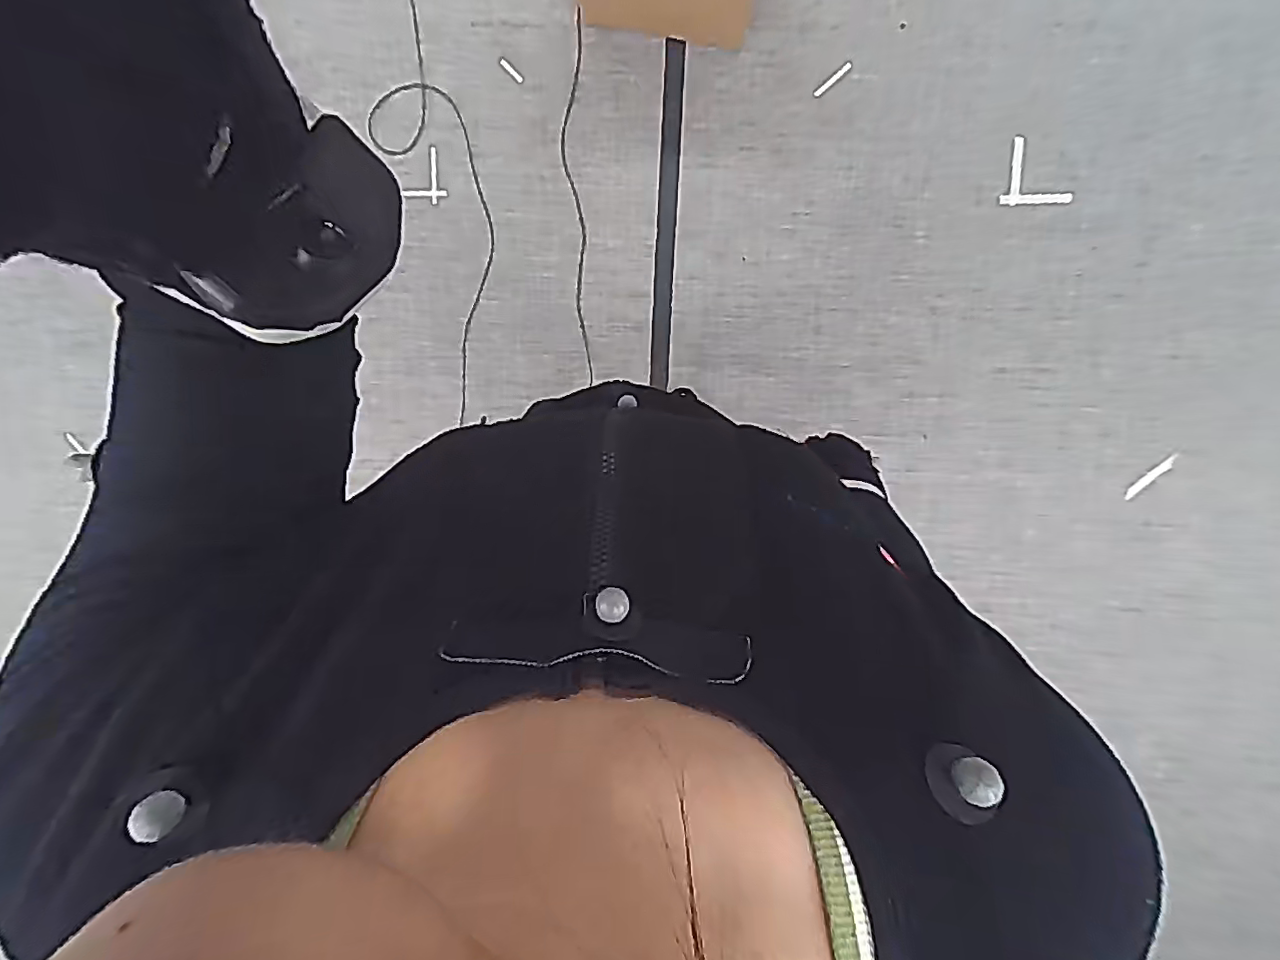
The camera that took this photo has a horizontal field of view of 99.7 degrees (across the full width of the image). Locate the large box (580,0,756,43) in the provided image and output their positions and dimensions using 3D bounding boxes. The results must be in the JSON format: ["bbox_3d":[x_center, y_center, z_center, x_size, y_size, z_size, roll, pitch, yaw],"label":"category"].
[{"bbox_3d":[0.076,-1.216,1.153,0.408,0.320,0.320,9,99,-1],"label":"large box"}]
